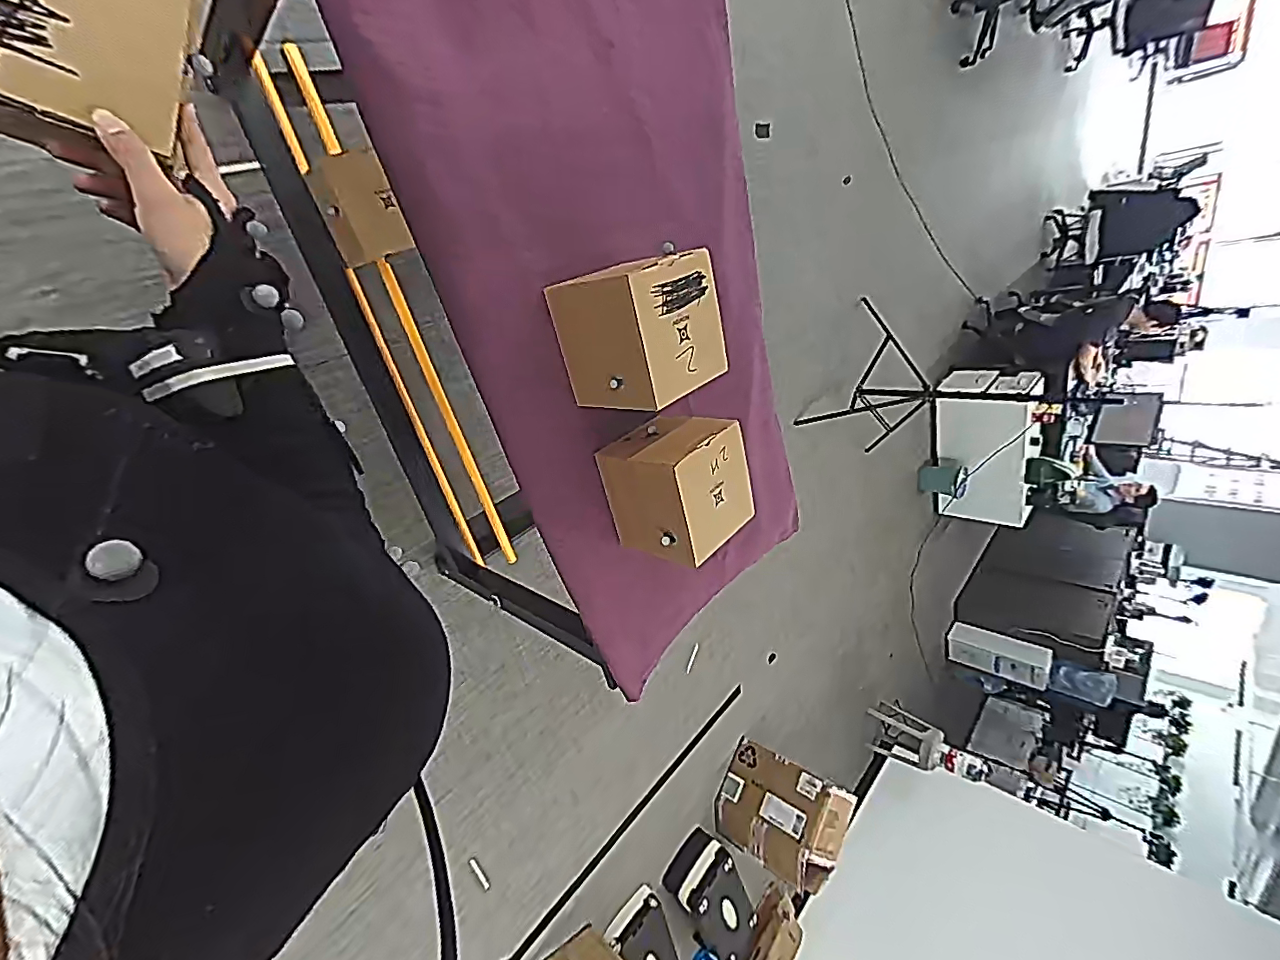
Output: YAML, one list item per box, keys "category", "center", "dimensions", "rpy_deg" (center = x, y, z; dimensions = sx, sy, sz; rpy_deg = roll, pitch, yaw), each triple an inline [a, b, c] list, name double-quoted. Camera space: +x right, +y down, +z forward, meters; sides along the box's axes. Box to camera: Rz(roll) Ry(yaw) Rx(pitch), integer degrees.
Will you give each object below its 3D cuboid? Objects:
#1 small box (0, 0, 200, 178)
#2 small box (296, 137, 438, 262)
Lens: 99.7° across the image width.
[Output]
- category: "small box"
  center: [-0.388, -0.319, 0.338]
  dimensions: [0.168, 0.176, 0.179]
  rpy_deg: [7, 100, -43]
- category: "small box"
  center: [-0.536, -0.541, 1.063]
  dimensions: [0.168, 0.176, 0.179]
  rpy_deg: [-37, 122, -32]
